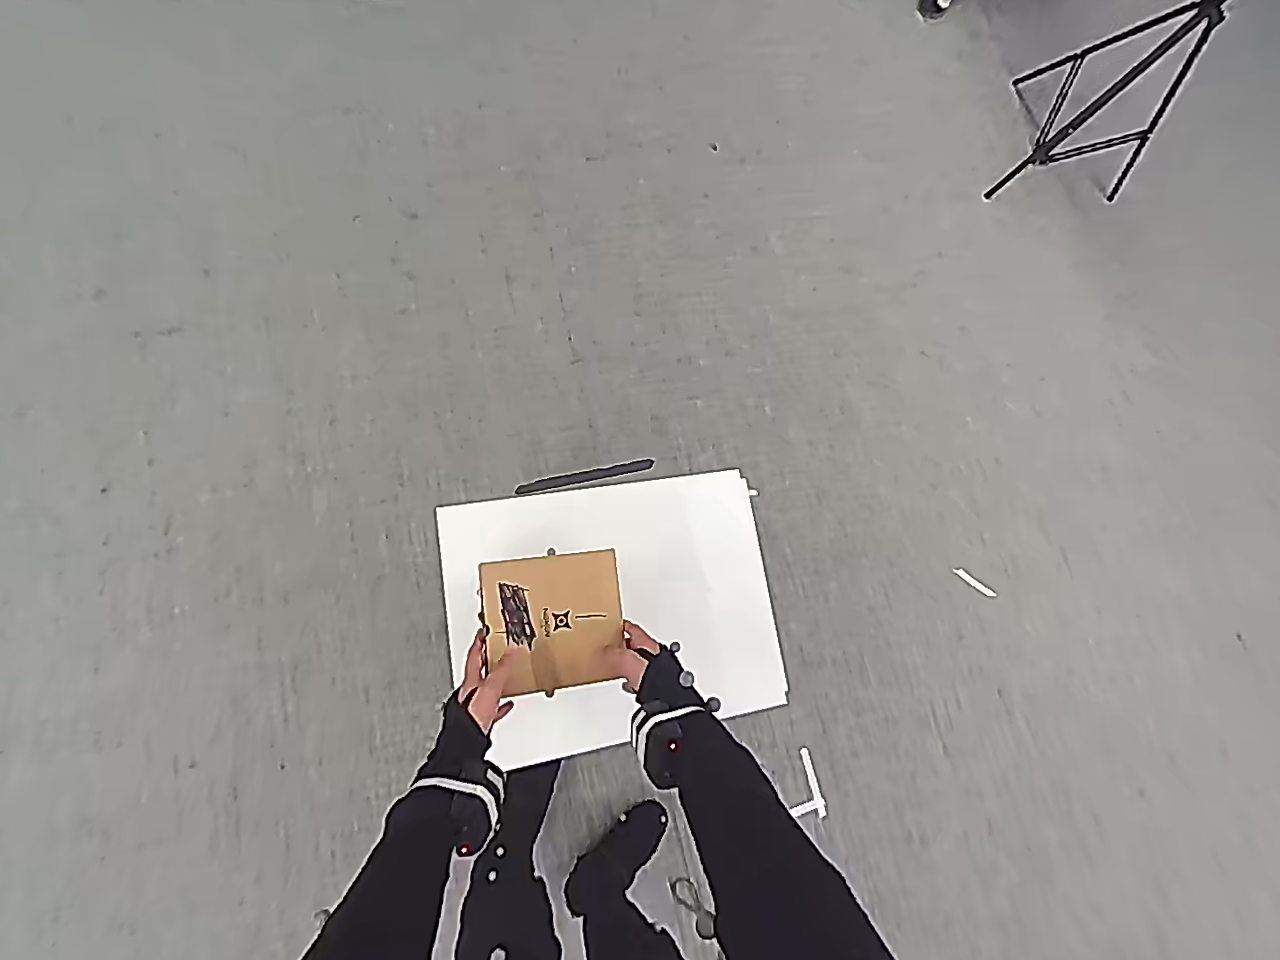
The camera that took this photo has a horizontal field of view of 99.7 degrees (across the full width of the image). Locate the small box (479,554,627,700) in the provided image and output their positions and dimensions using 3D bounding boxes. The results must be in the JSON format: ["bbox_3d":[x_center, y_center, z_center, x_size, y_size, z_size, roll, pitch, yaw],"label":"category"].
[{"bbox_3d":[-0.124,0.199,0.754,0.179,0.176,0.168,-4,78,-14],"label":"small box"}]
